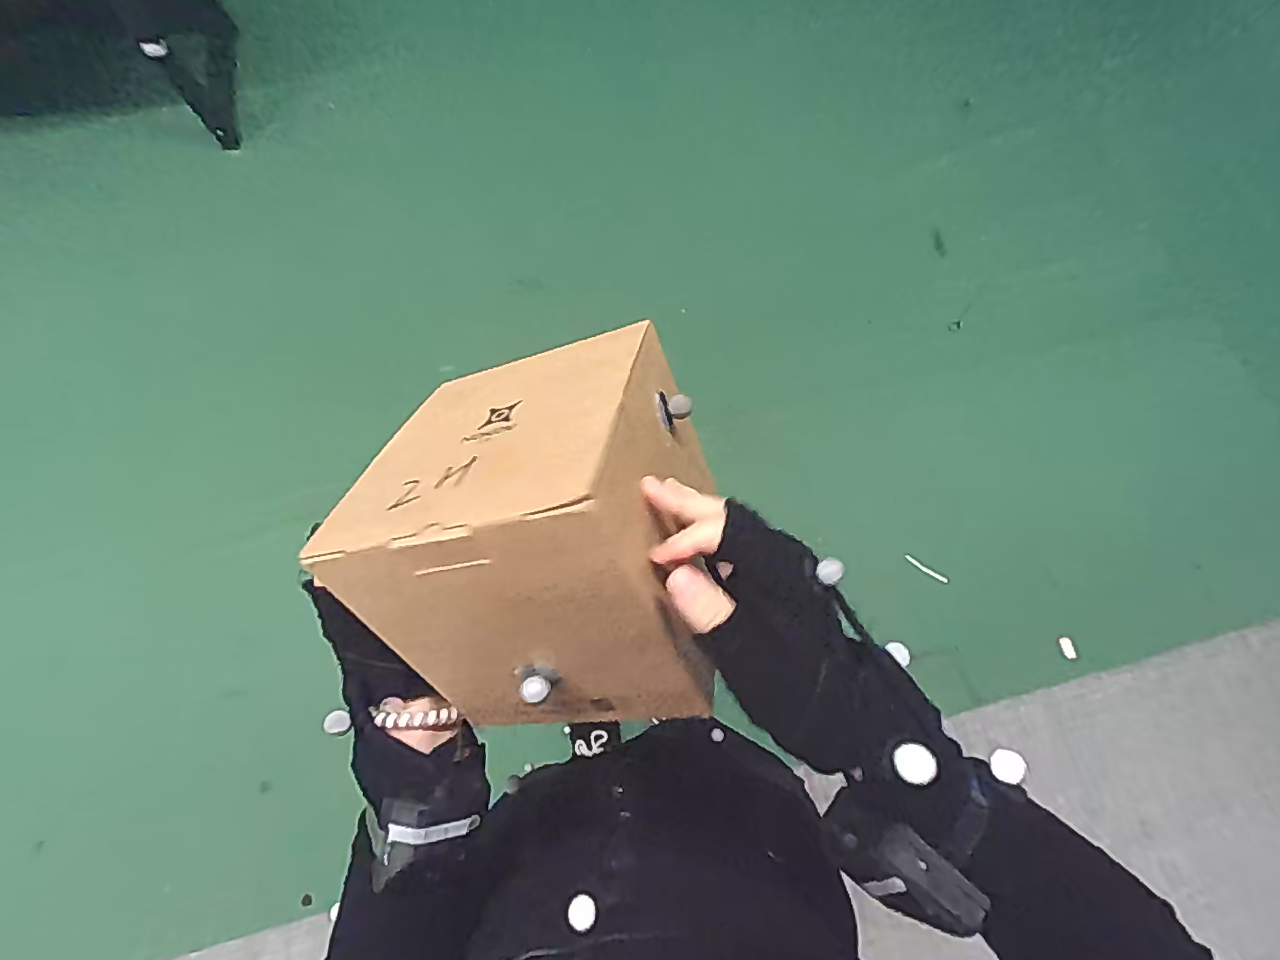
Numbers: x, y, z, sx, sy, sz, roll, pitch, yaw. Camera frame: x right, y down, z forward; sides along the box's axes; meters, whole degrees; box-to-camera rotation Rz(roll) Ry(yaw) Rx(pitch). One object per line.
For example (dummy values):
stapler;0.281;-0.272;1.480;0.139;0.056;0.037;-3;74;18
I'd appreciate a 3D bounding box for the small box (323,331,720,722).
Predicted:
small box;-0.047;0.032;0.355;0.168;0.176;0.179;-11;37;17
